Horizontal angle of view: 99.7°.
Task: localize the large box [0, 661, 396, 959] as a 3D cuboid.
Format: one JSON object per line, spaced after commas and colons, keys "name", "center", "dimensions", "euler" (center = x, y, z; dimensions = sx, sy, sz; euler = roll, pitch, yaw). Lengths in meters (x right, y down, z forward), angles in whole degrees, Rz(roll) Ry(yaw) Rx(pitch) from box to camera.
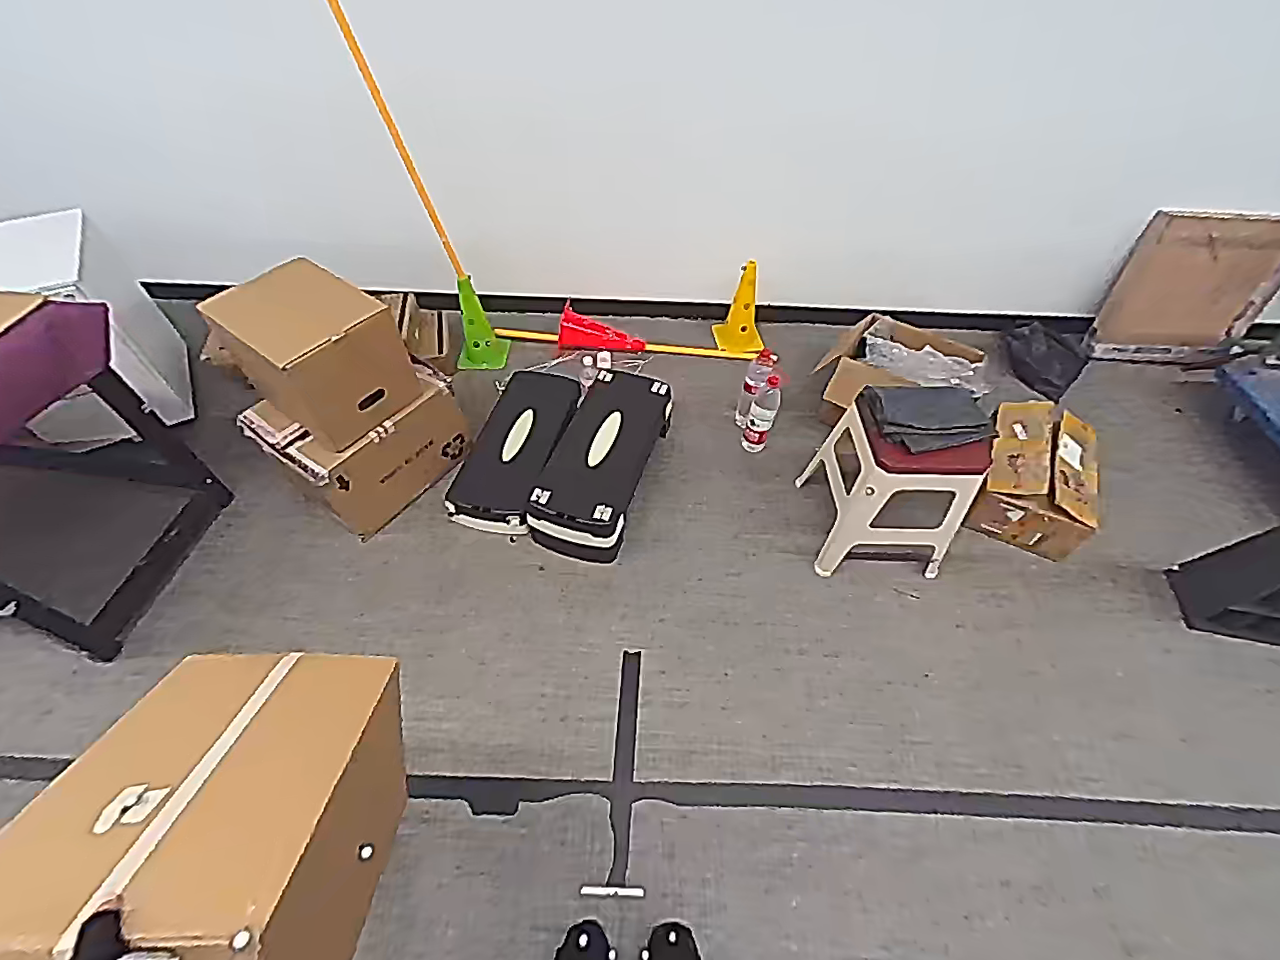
{"name": "large box", "center": [-0.546, 0.501, 0.728], "dimensions": [0.320, 0.320, 0.408], "euler": [3, 20, -7]}
